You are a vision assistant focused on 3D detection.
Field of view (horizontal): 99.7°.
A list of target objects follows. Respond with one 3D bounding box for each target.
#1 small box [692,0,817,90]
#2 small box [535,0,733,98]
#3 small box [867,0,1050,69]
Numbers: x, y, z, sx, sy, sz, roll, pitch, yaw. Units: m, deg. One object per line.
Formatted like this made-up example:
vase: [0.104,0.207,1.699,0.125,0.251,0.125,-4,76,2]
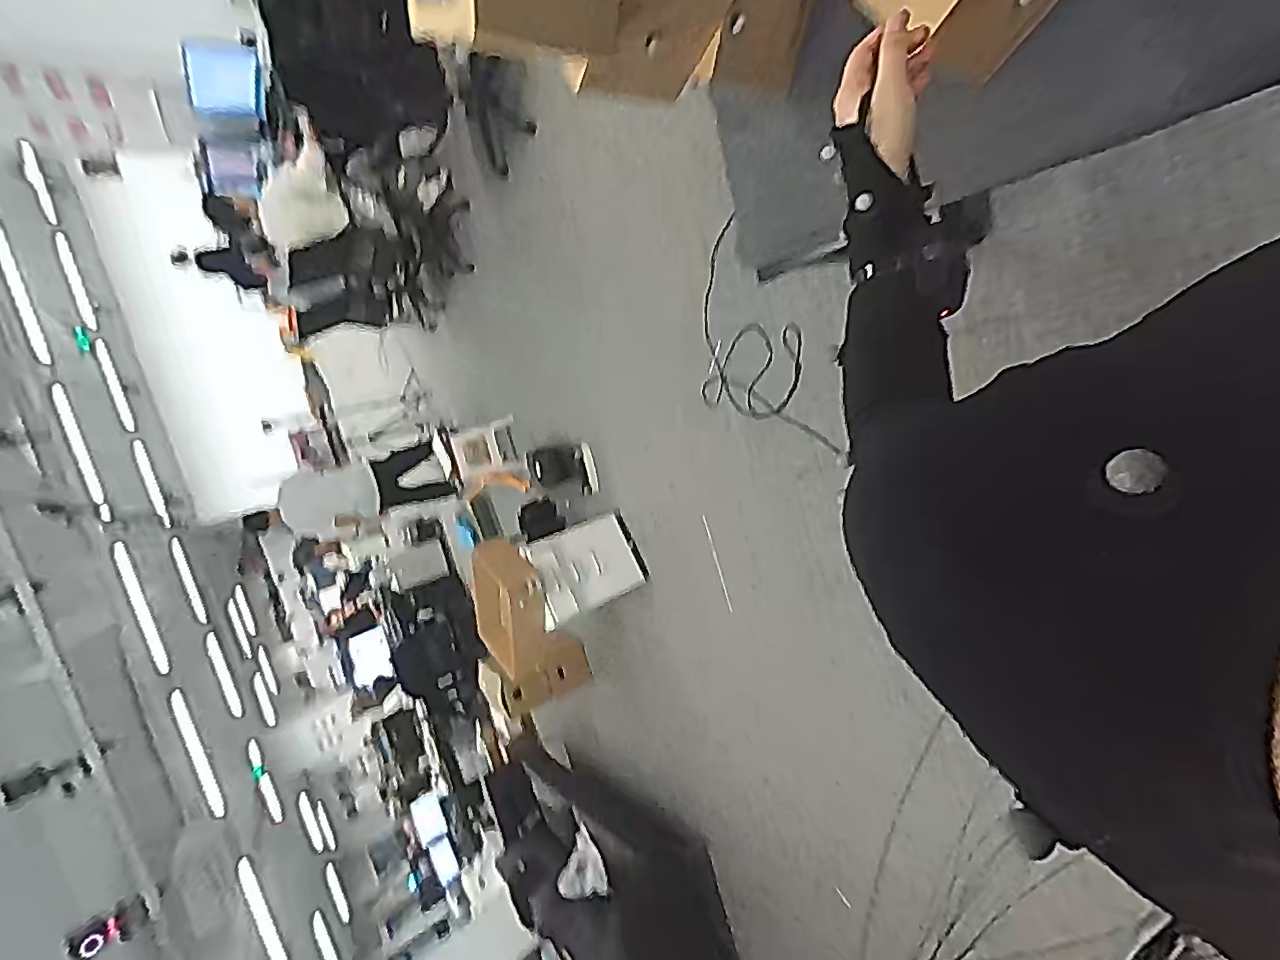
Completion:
small box: [0.123,-0.664,0.753,0.179,0.176,0.168,44,138,33]
small box: [-0.004,-0.613,0.661,0.179,0.176,0.168,-37,76,55]
small box: [0.327,-0.542,0.527,0.179,0.176,0.168,61,144,14]
